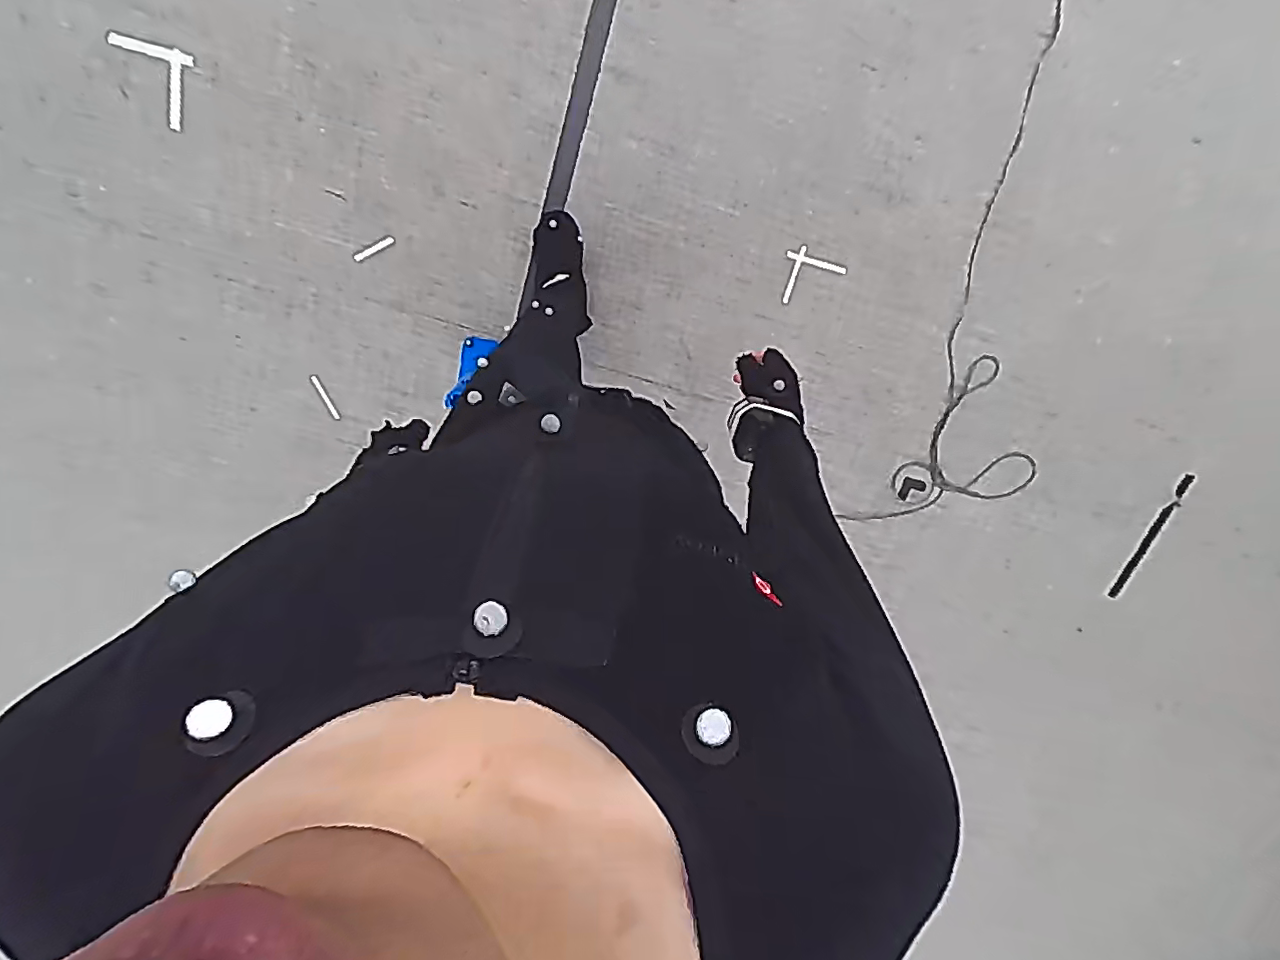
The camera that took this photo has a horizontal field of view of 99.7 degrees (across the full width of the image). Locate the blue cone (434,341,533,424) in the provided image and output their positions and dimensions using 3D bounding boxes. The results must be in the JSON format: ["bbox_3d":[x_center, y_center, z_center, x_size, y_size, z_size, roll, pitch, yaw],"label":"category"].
[{"bbox_3d":[-0.375,-0.203,1.227,0.192,0.380,0.193,13,105,-4],"label":"blue cone"}]
